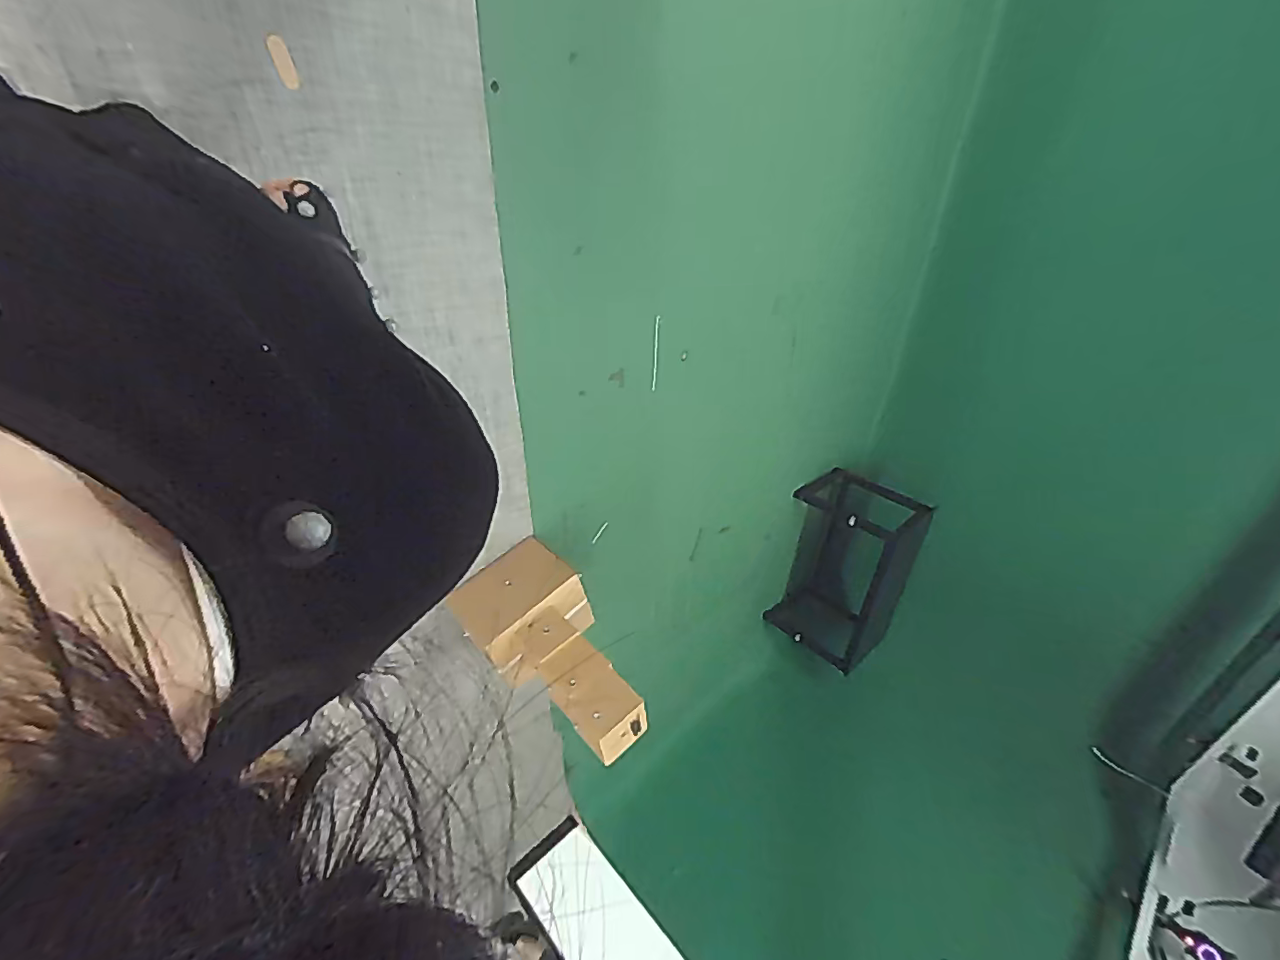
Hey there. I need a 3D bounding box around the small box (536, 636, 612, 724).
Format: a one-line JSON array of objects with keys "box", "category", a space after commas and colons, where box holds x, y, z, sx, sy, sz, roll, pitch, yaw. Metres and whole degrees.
[{"box": [-0.215, 0.651, 1.779, 0.179, 0.176, 0.168, -32, 135, -31], "category": "small box"}]

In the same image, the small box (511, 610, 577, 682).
[{"box": [-0.325, 0.579, 1.874, 0.168, 0.176, 0.179, -33, 135, -30], "category": "small box"}]

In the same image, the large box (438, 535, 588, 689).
[{"box": [-0.472, 0.490, 2.054, 0.408, 0.320, 0.320, -39, 139, -27], "category": "large box"}]
